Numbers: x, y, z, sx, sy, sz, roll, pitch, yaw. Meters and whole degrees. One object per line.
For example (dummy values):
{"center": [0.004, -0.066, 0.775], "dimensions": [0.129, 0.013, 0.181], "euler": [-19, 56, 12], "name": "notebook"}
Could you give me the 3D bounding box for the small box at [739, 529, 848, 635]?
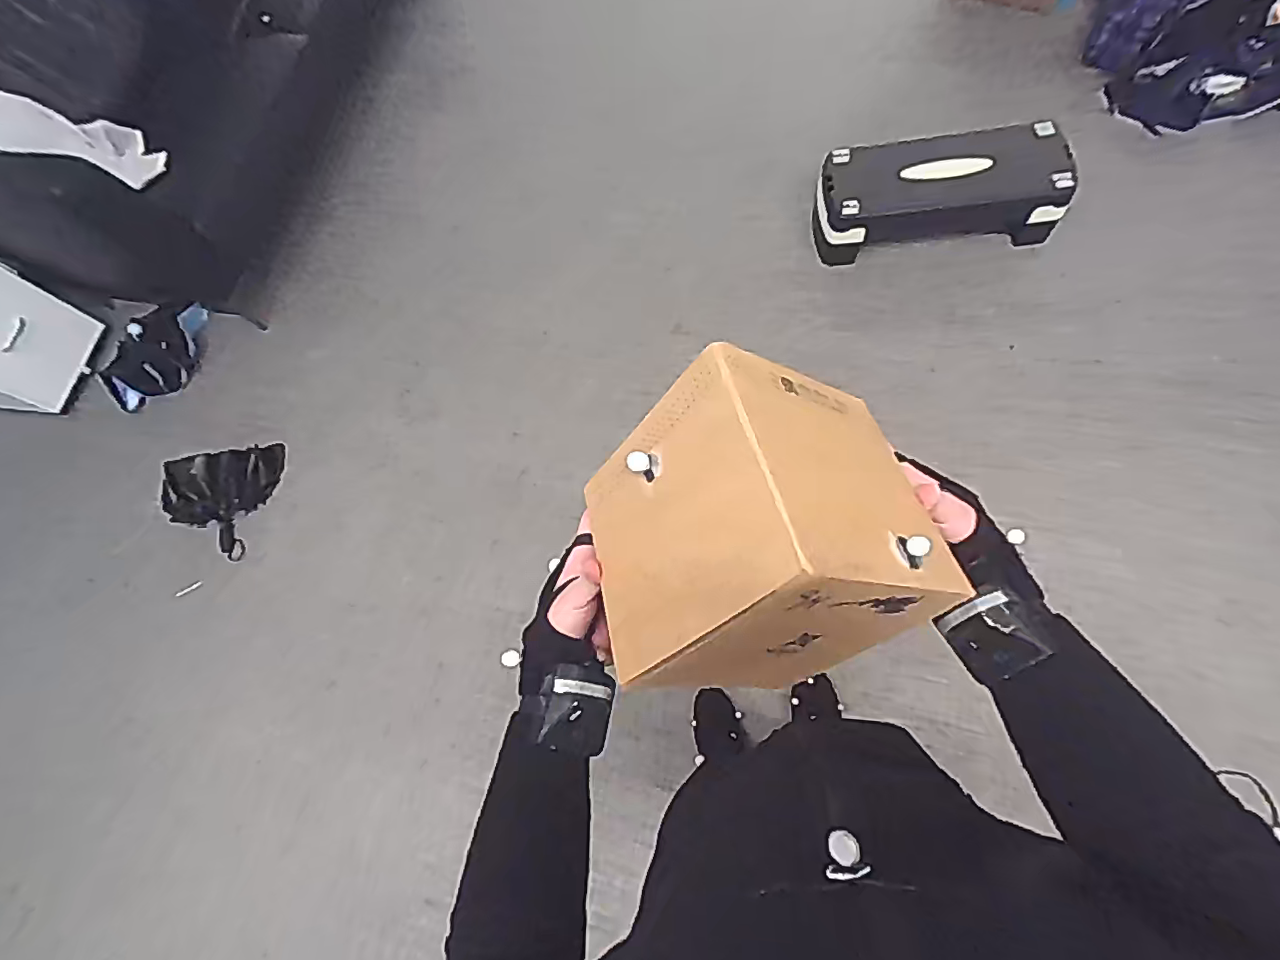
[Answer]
{"center": [0.336, 0.235, 1.223], "dimensions": [0.179, 0.176, 0.168], "euler": [-28, 68, 0], "name": "small box"}
